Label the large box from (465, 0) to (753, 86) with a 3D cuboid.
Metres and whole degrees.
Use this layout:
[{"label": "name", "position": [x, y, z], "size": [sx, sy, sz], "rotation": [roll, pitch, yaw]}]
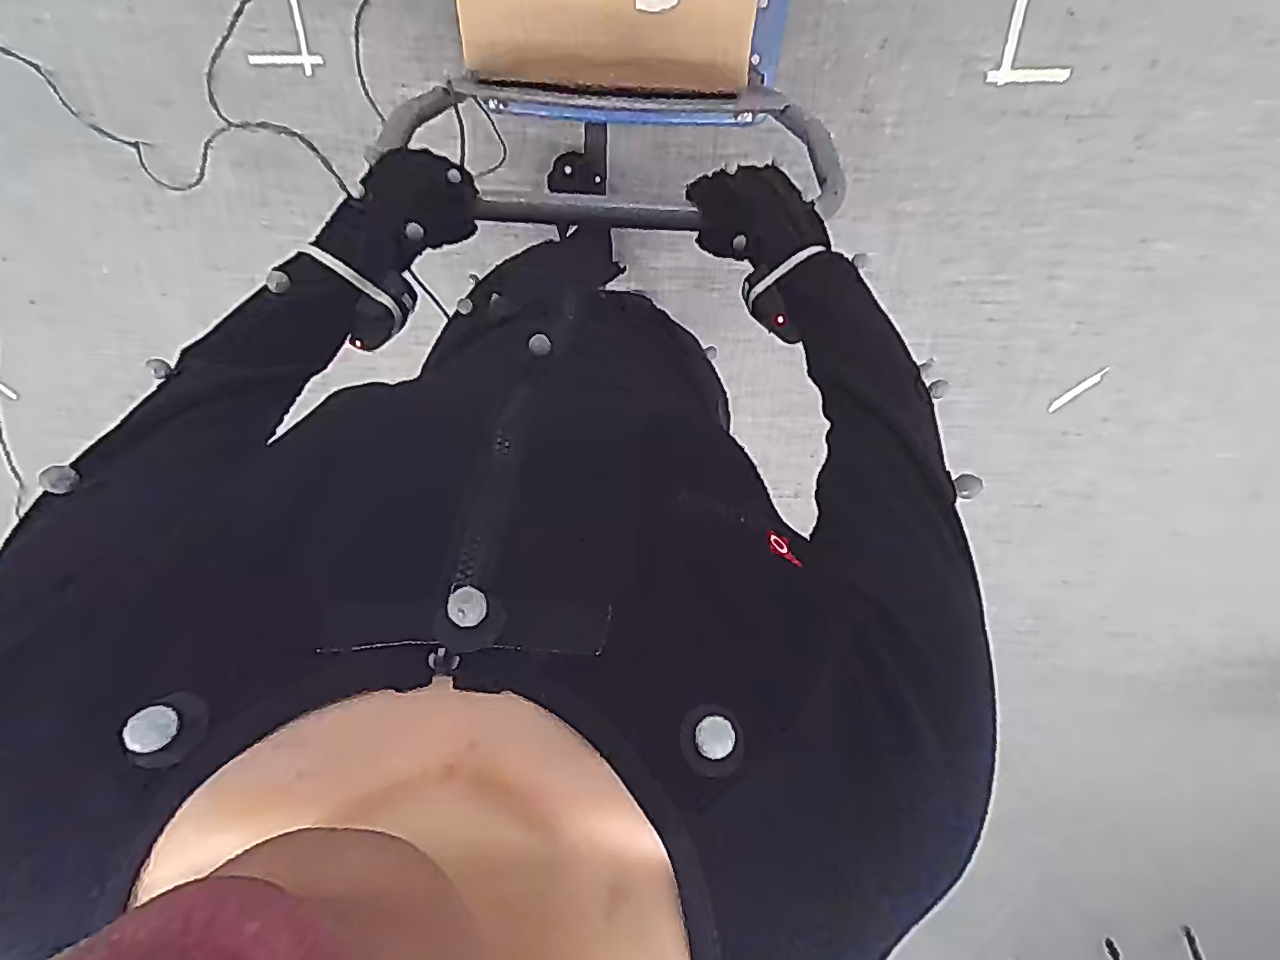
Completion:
[{"label": "large box", "position": [-0.045, -0.800, 0.818], "size": [0.408, 0.320, 0.320], "rotation": [1, 129, -3]}]
